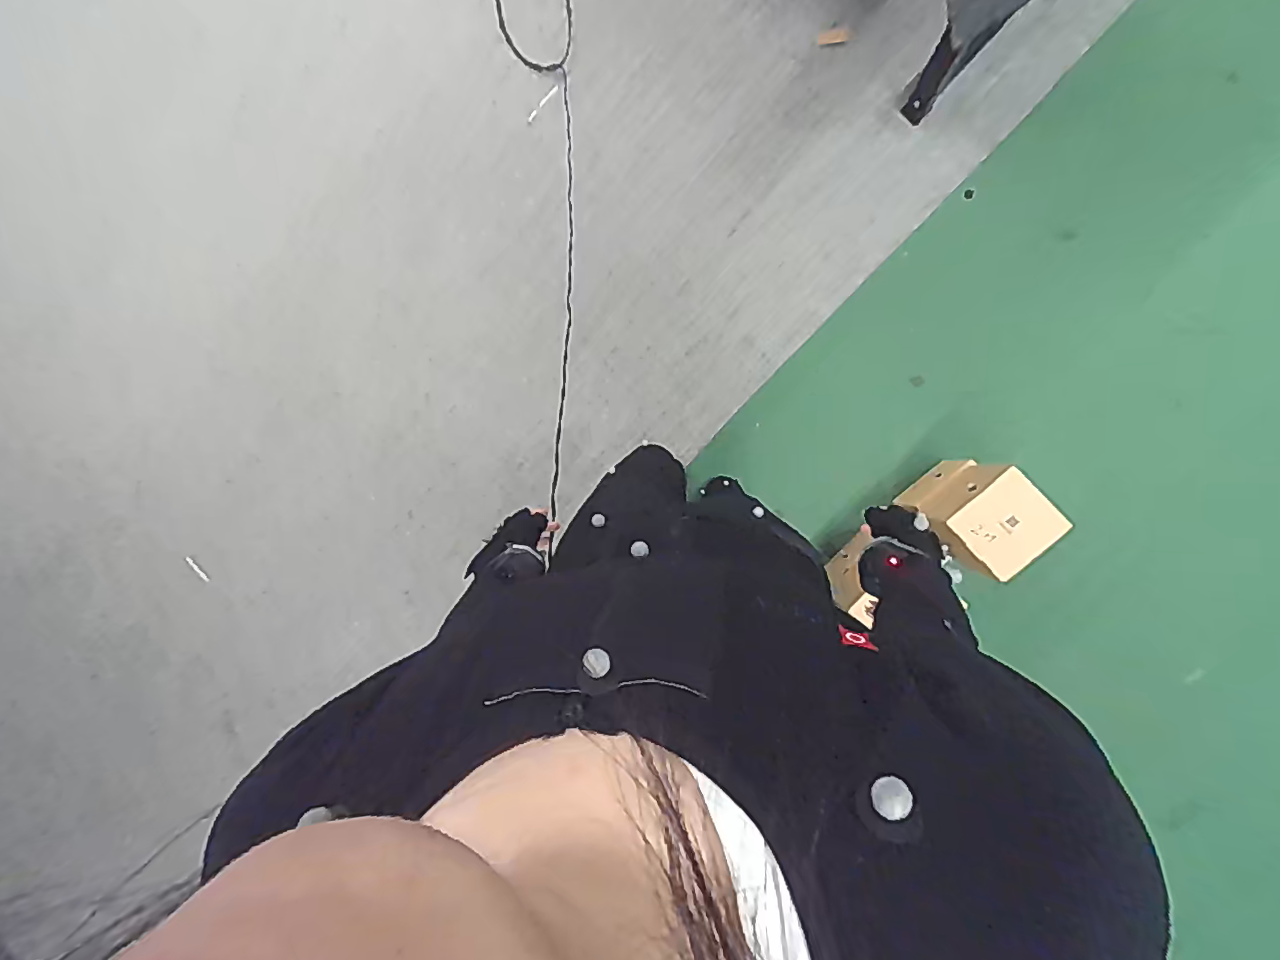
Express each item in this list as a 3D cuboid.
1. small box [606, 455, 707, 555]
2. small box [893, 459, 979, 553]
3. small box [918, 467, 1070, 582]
[{"bbox_3d":[0.037,0.064,1.396,0.168,0.176,0.179,-46,55,9],"label":"small box"},{"bbox_3d":[0.754,0.069,1.310,0.168,0.176,0.179,-41,86,6],"label":"small box"},{"bbox_3d":[0.734,0.086,1.148,0.179,0.176,0.168,-42,86,6],"label":"small box"}]
